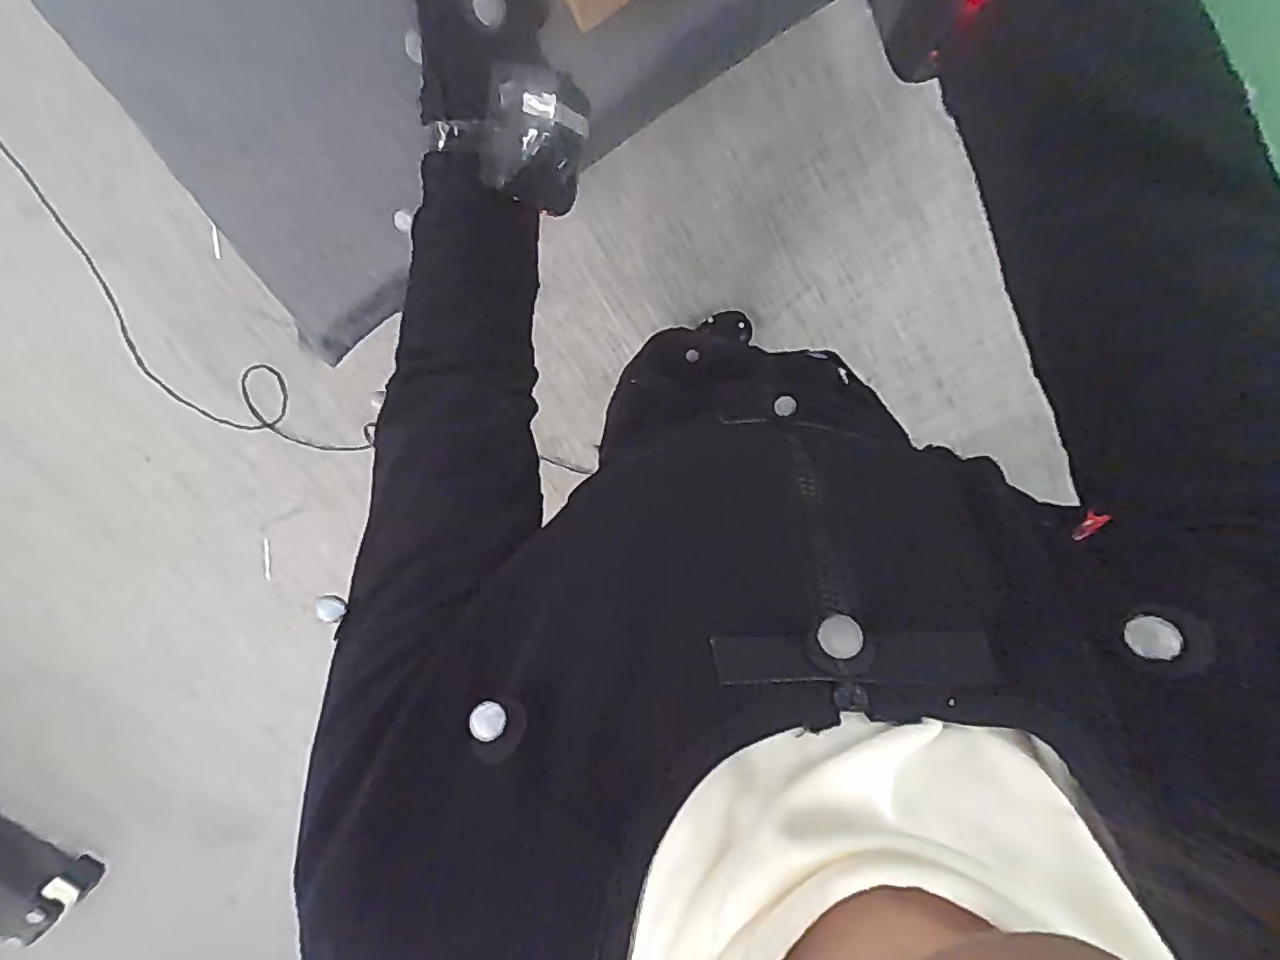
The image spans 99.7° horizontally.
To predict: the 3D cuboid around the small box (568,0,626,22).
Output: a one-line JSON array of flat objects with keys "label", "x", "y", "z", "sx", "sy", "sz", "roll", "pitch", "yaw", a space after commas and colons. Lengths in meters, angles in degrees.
[{"label": "small box", "x": -0.029, "y": -0.529, "z": 0.429, "sx": 0.179, "sy": 0.176, "sz": 0.168, "roll": -28, "pitch": 104, "yaw": 13}]
